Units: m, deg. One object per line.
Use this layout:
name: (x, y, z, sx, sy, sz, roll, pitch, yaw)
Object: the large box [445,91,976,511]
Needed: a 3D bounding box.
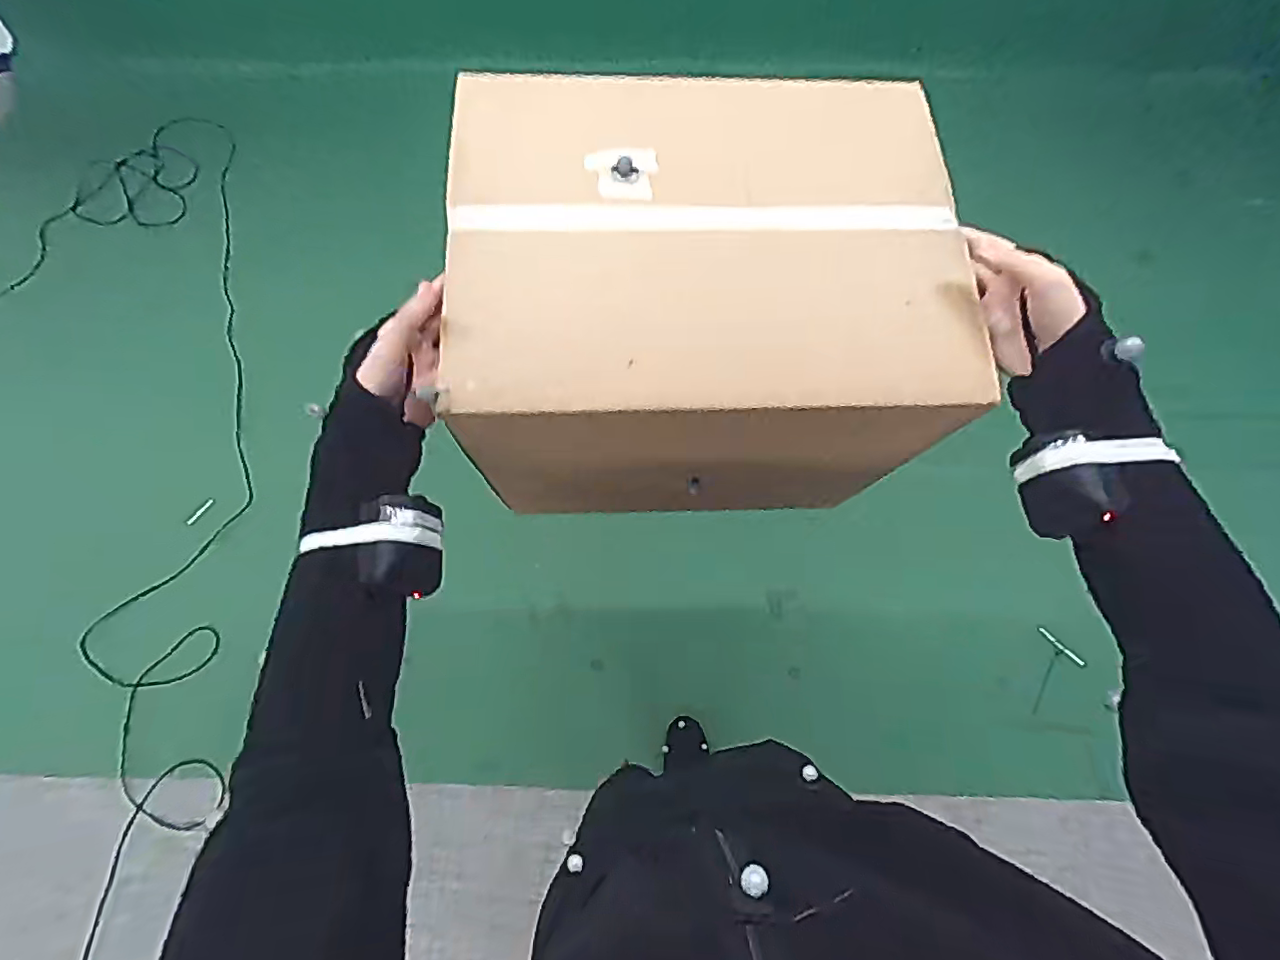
large box: (0.046, -0.153, 0.579, 0.408, 0.320, 0.320, -2, 73, -3)
